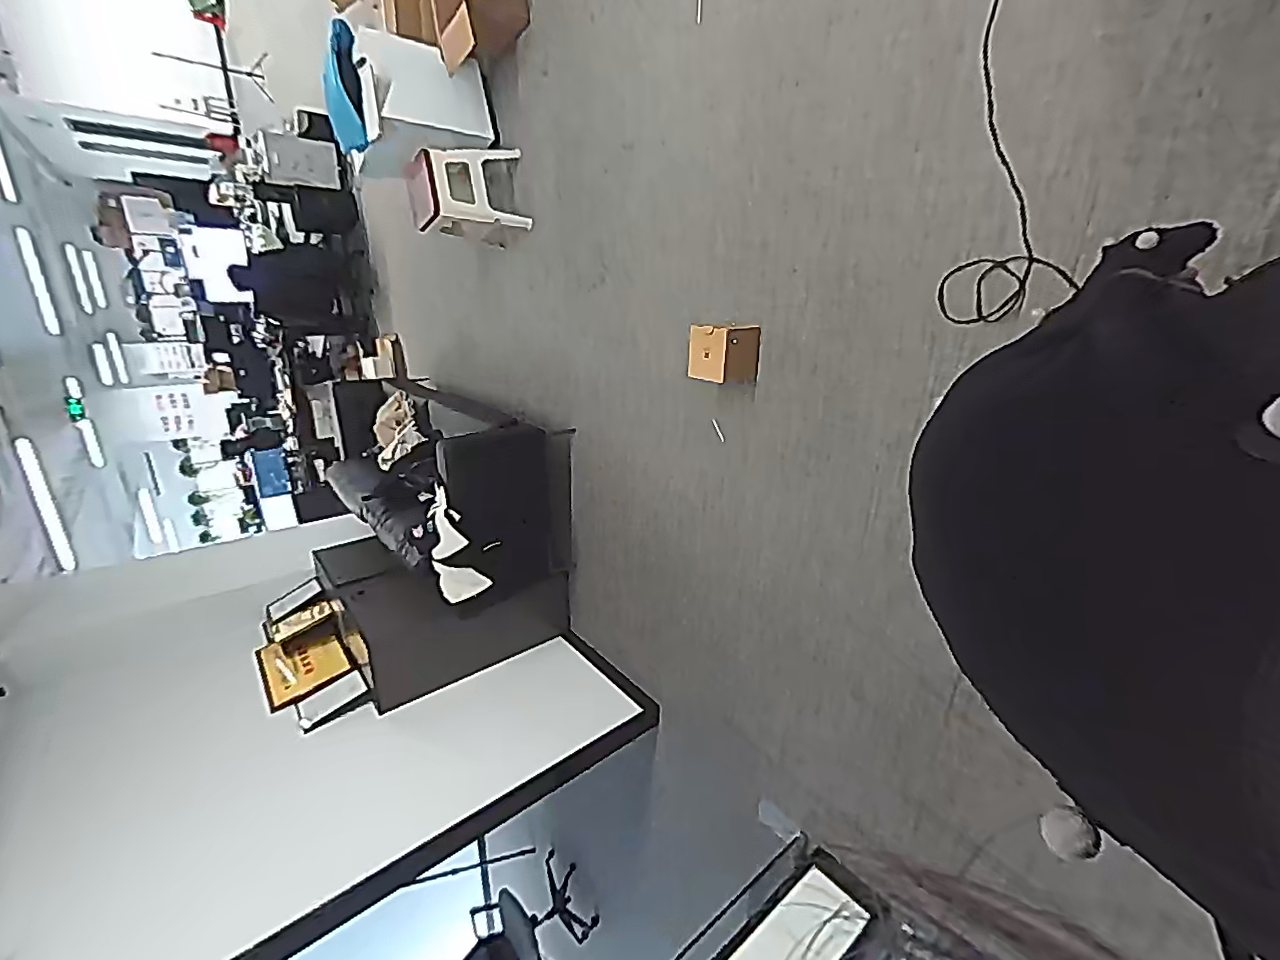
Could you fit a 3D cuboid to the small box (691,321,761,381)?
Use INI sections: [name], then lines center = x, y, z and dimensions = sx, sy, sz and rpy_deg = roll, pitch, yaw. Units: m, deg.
[small box]
center = 0.292, -0.442, 1.834
dimensions = 0.168, 0.176, 0.179
rpy_deg = 24, 119, 46
